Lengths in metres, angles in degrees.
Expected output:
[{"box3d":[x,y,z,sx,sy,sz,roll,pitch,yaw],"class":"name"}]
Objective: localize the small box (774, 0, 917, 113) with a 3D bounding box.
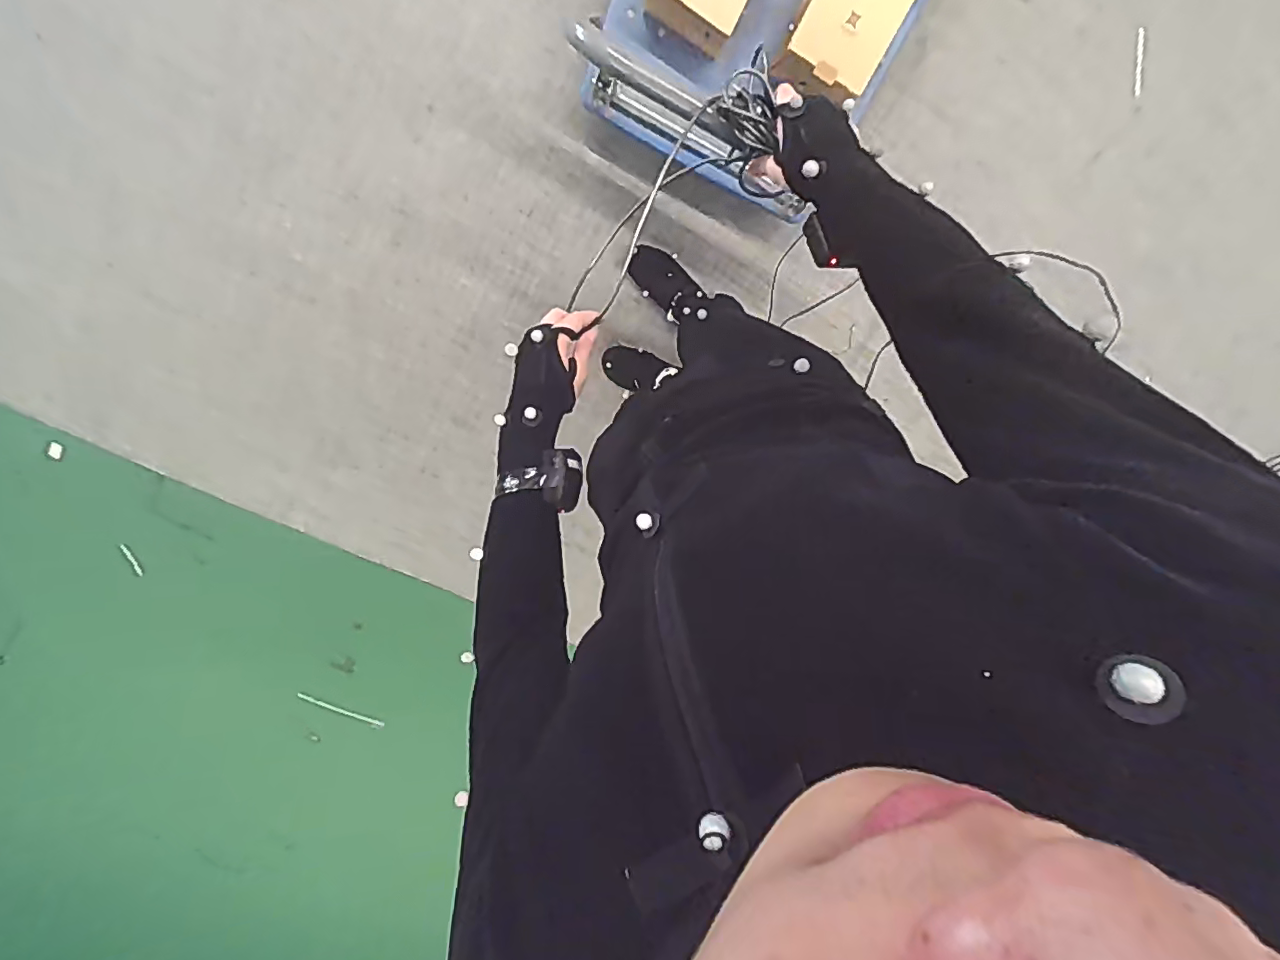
[{"box3d":[0.382,-0.855,1.047,0.168,0.176,0.179,24,114,-12],"class":"small box"}]
